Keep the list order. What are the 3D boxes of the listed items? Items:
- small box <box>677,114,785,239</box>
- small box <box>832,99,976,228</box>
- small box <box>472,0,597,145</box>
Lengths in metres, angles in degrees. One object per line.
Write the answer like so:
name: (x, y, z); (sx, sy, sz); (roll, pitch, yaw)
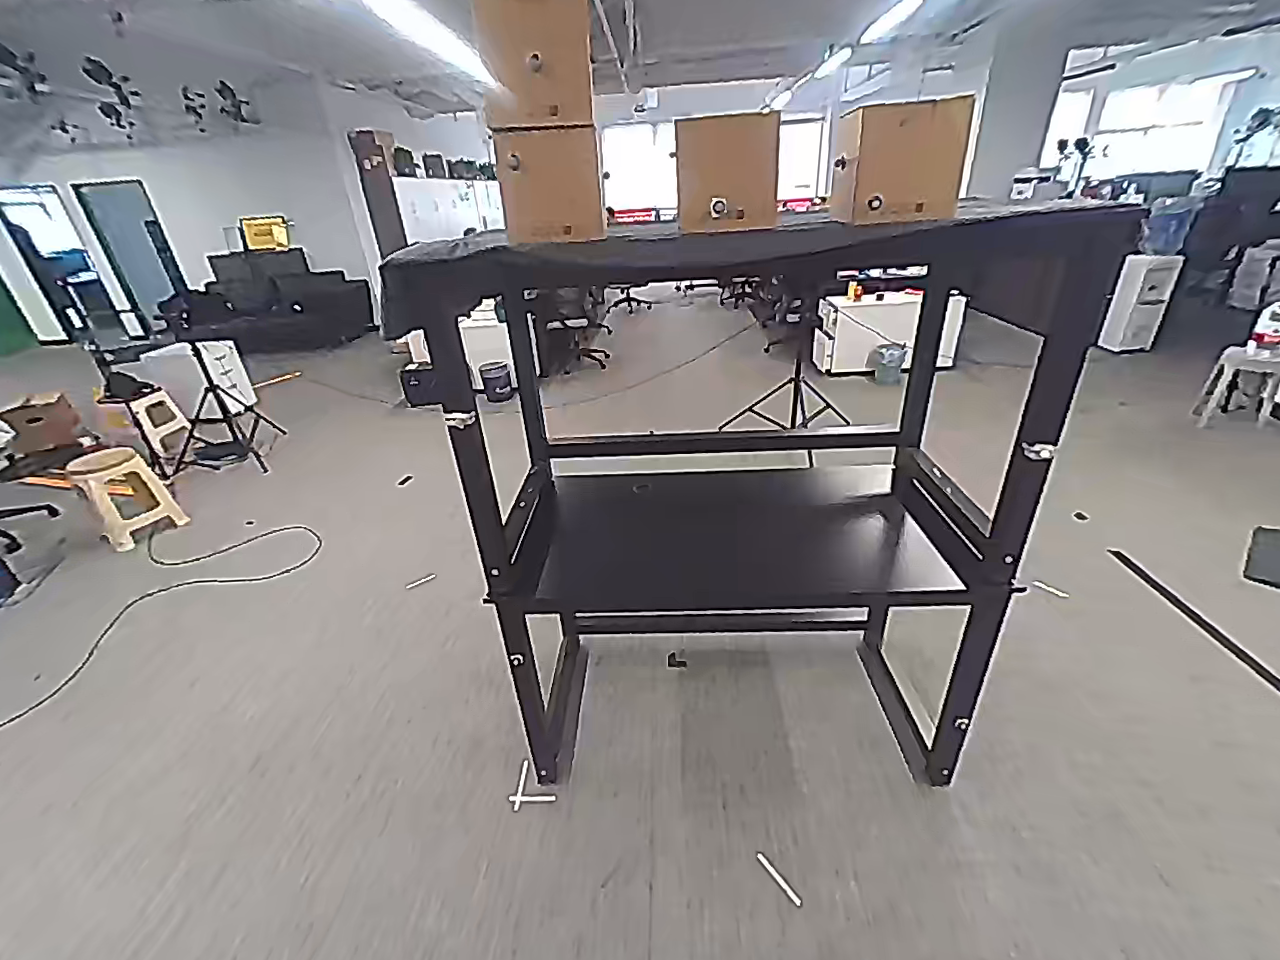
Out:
small box: (0.151, -0.514, 0.932); (0.168, 0.176, 0.179); (-2, 27, 7)
small box: (0.434, -0.527, 0.919); (0.168, 0.176, 0.179); (-1, 27, 6)
small box: (-0.156, -0.648, 0.868); (0.168, 0.176, 0.179); (-3, 28, -3)
